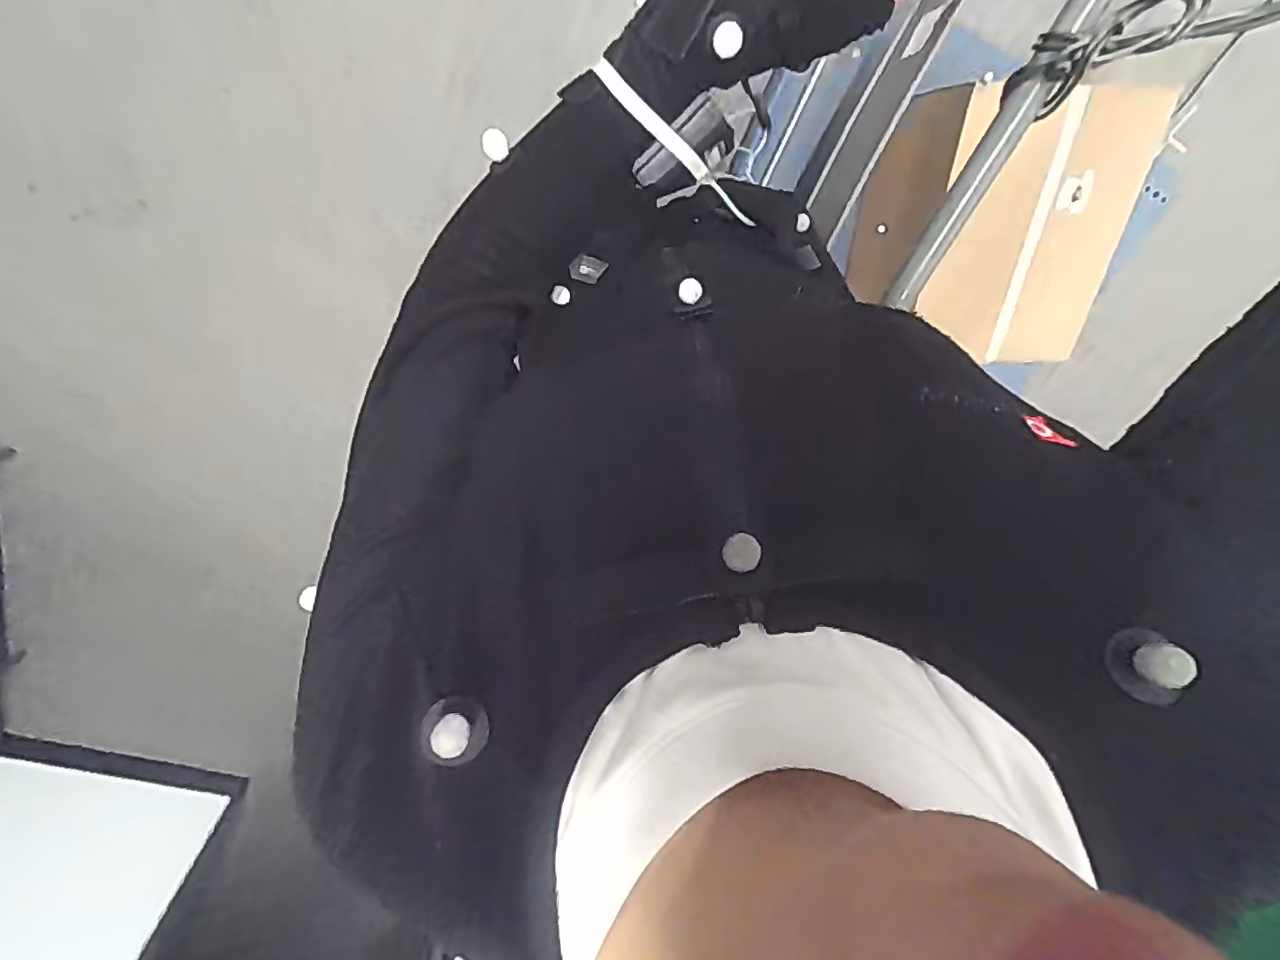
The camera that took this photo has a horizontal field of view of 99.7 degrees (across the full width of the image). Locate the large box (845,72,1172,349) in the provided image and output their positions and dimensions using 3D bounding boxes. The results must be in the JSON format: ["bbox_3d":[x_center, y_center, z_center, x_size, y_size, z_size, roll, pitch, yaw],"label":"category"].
[{"bbox_3d":[0.616,-0.478,1.003,0.320,0.320,0.408,0,119,-4],"label":"large box"}]
